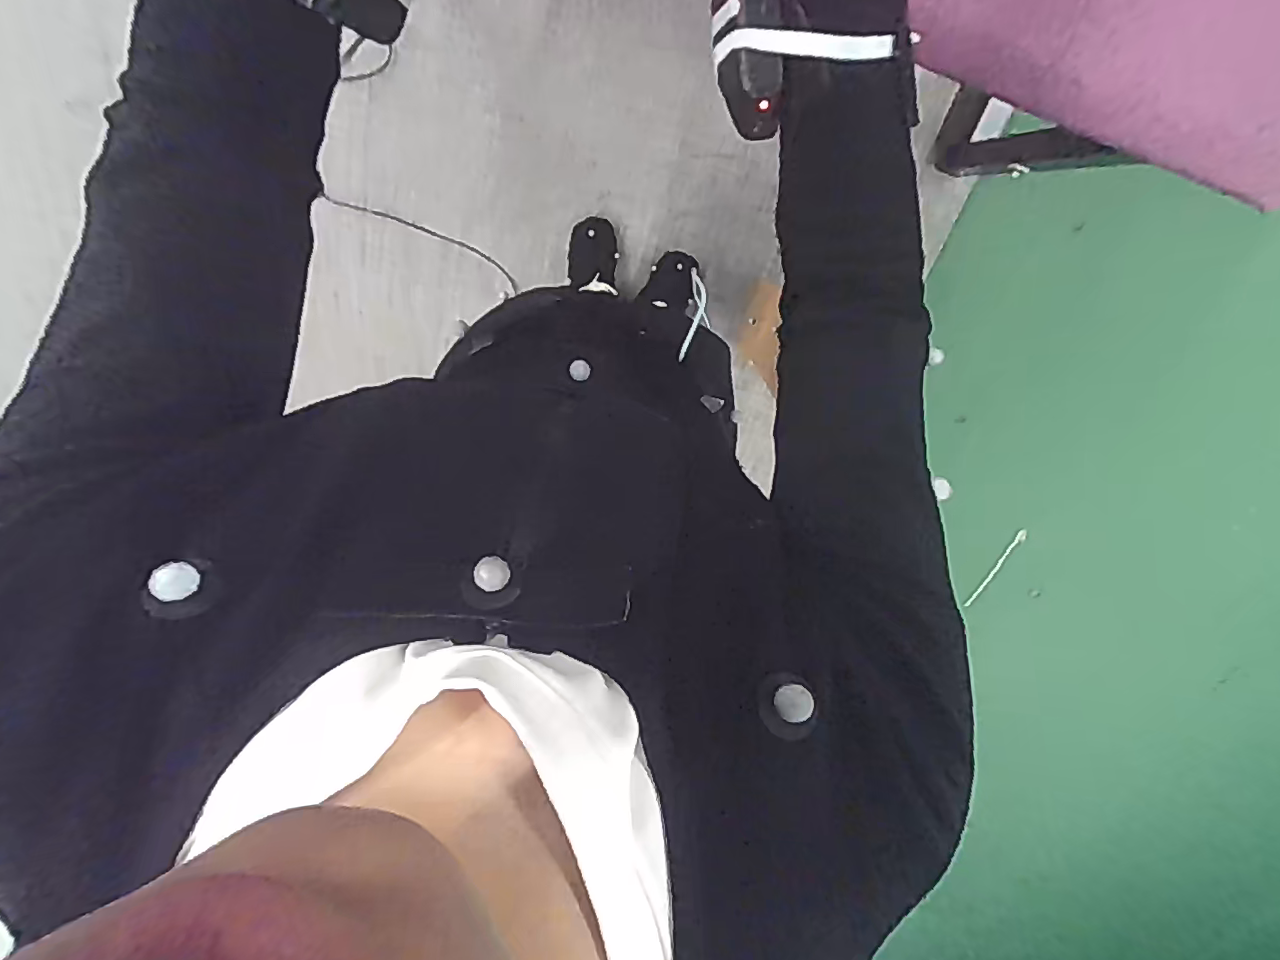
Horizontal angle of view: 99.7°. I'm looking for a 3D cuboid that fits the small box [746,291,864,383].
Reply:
[{"bbox_3d":[0.342,-0.288,1.168,0.168,0.176,0.179,19,115,-10],"label":"small box"}]
